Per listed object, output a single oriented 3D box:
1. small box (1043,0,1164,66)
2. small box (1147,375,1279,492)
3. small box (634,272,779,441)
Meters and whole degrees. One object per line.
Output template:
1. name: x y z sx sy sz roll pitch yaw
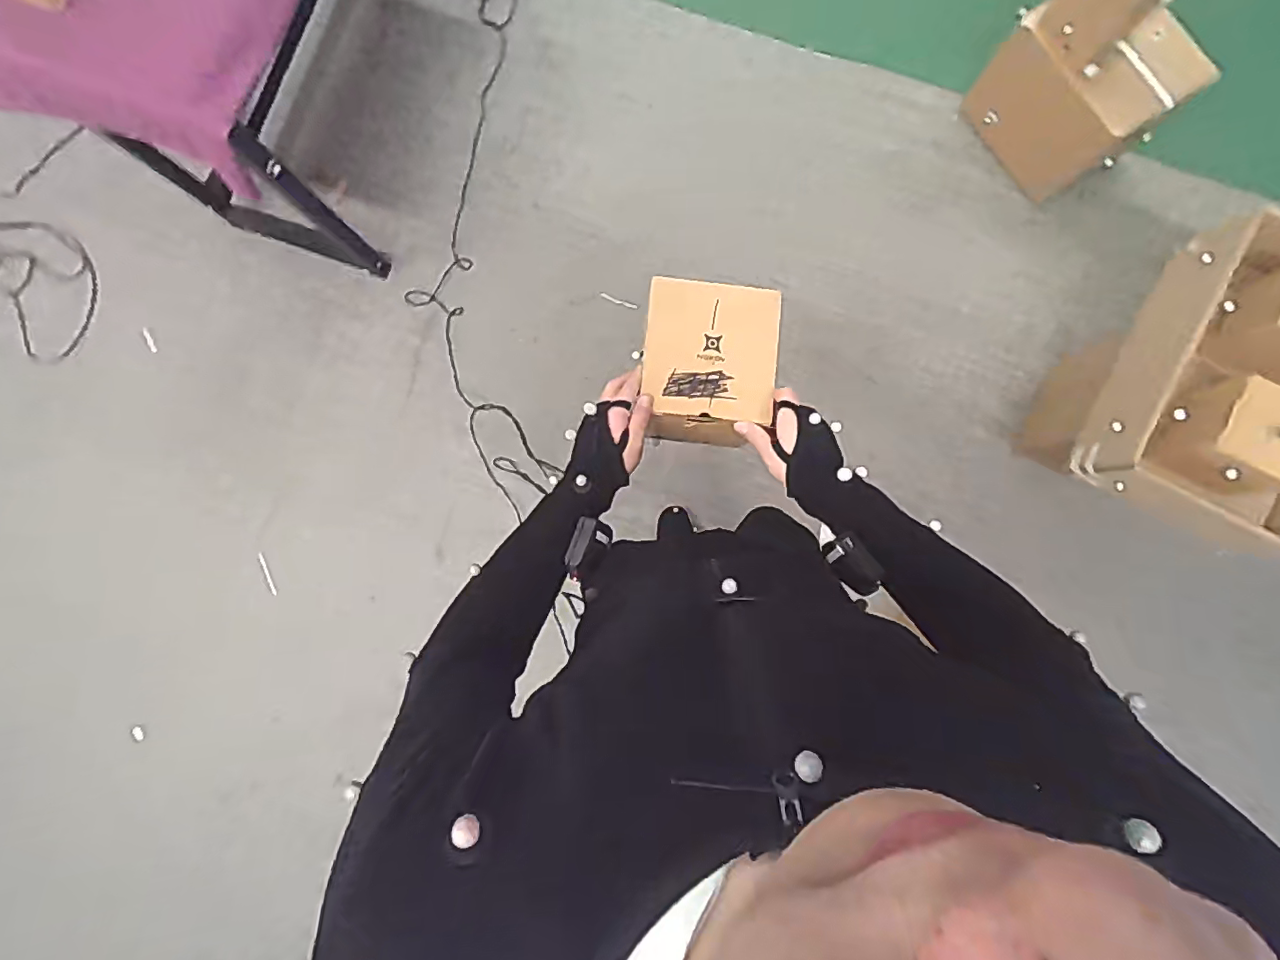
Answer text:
1. small box: 1.131 -1.159 1.291 0.179 0.176 0.168 -33 85 1
2. small box: 1.213 -0.086 1.098 0.179 0.176 0.168 29 87 6
3. small box: 0.081 -0.155 0.735 0.168 0.176 0.179 5 83 -2
